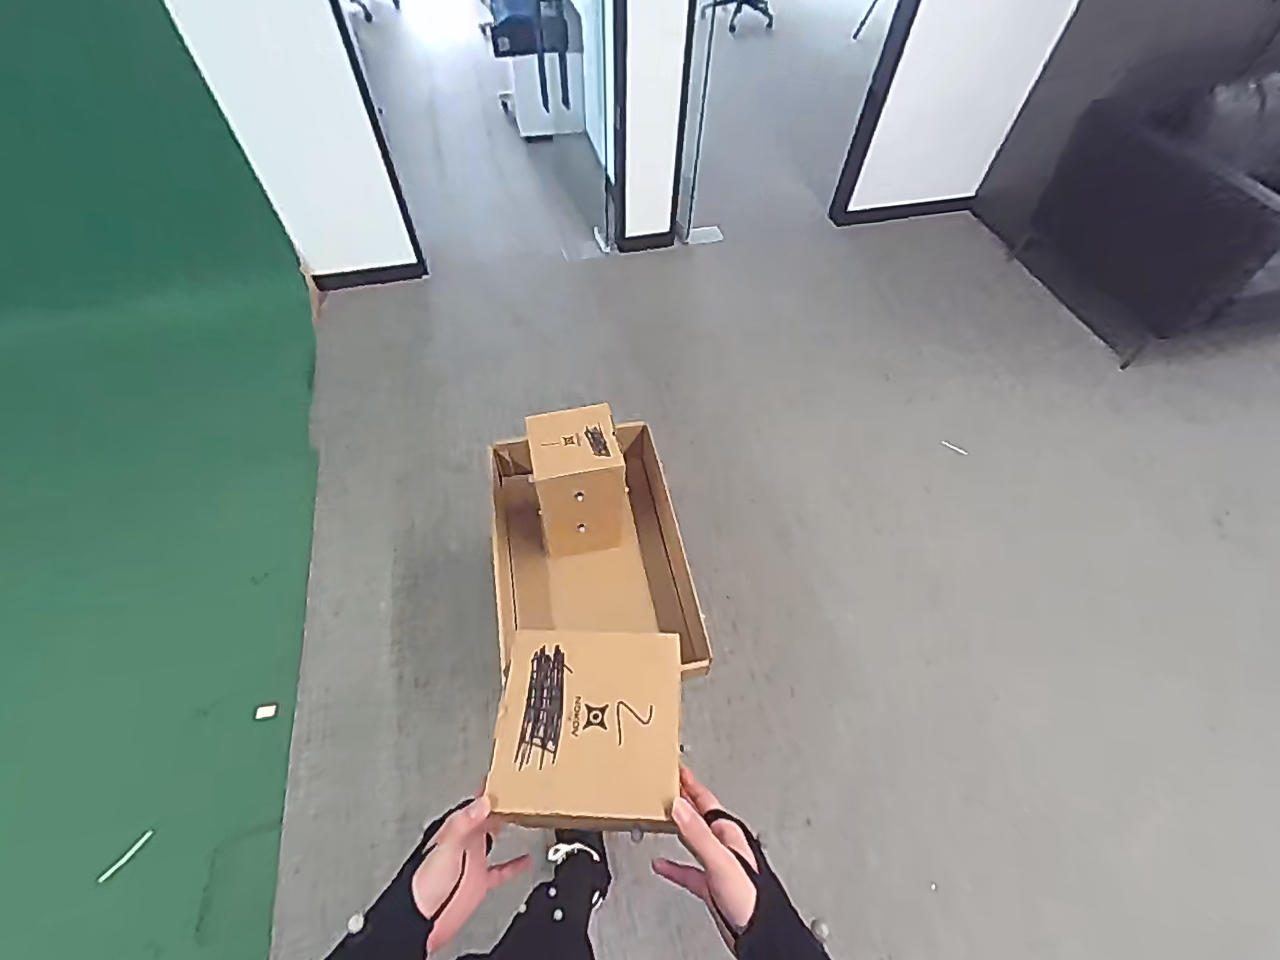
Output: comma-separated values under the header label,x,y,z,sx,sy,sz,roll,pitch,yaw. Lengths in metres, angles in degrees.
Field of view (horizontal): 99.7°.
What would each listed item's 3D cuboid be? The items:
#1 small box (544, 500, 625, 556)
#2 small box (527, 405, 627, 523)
label,x,y,z,sx,sy,sz,roll,pitch,yaw
small box,-0.136,0.059,1.261,0.179,0.176,0.168,-9,56,-8
small box,-0.129,-0.030,1.123,0.179,0.176,0.168,-10,57,-8
